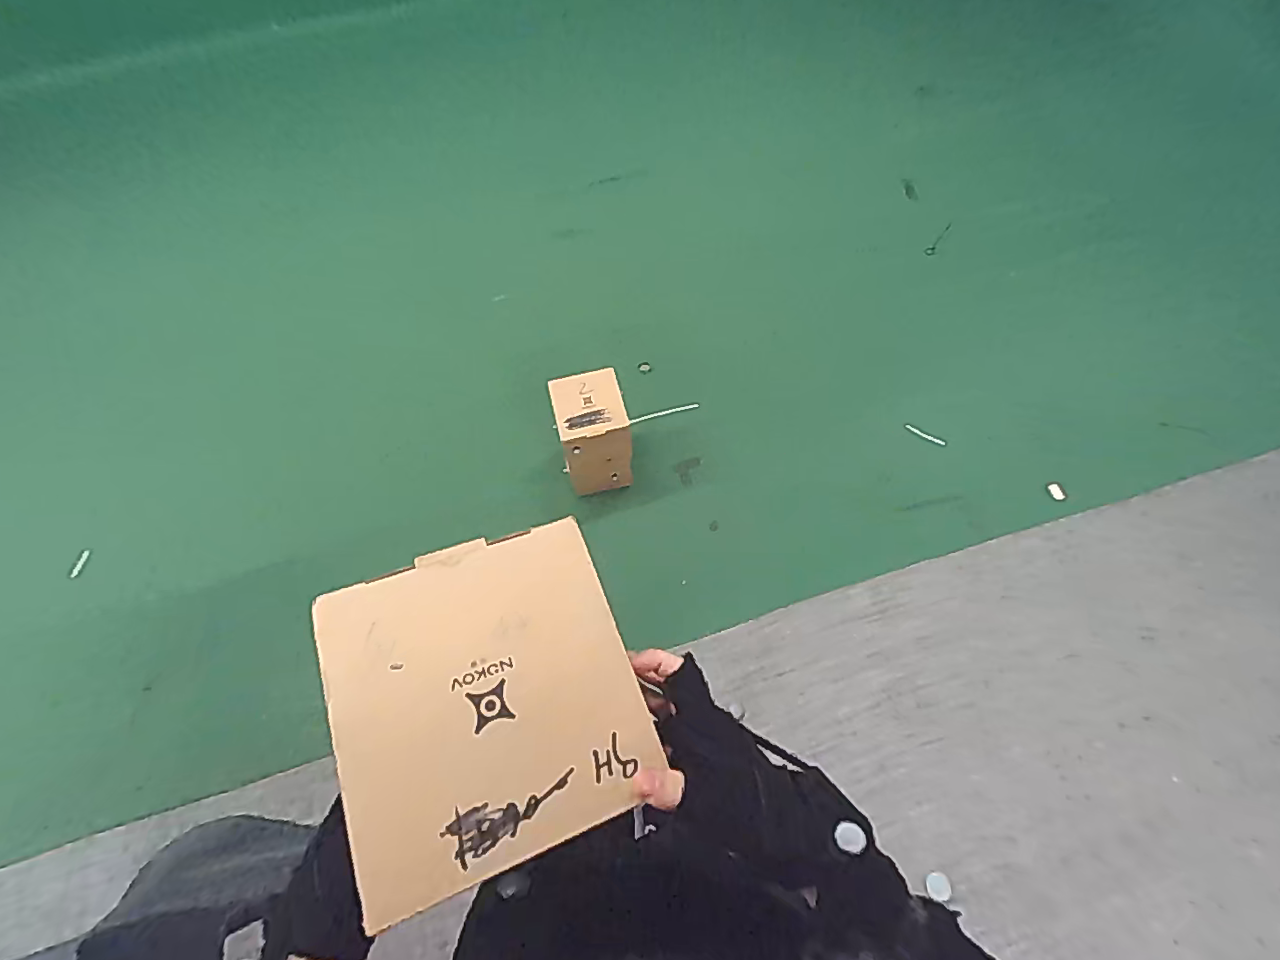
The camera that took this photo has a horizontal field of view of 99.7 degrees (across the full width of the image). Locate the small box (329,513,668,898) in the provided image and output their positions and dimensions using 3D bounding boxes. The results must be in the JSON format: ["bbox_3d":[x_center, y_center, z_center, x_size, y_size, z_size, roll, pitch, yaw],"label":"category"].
[{"bbox_3d":[-0.098,0.152,0.394,0.168,0.176,0.179,-17,68,-15],"label":"small box"}]

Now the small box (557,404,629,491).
[{"bbox_3d":[-0.127,-0.082,1.506,0.168,0.176,0.179,-12,67,-4],"label":"small box"}]
